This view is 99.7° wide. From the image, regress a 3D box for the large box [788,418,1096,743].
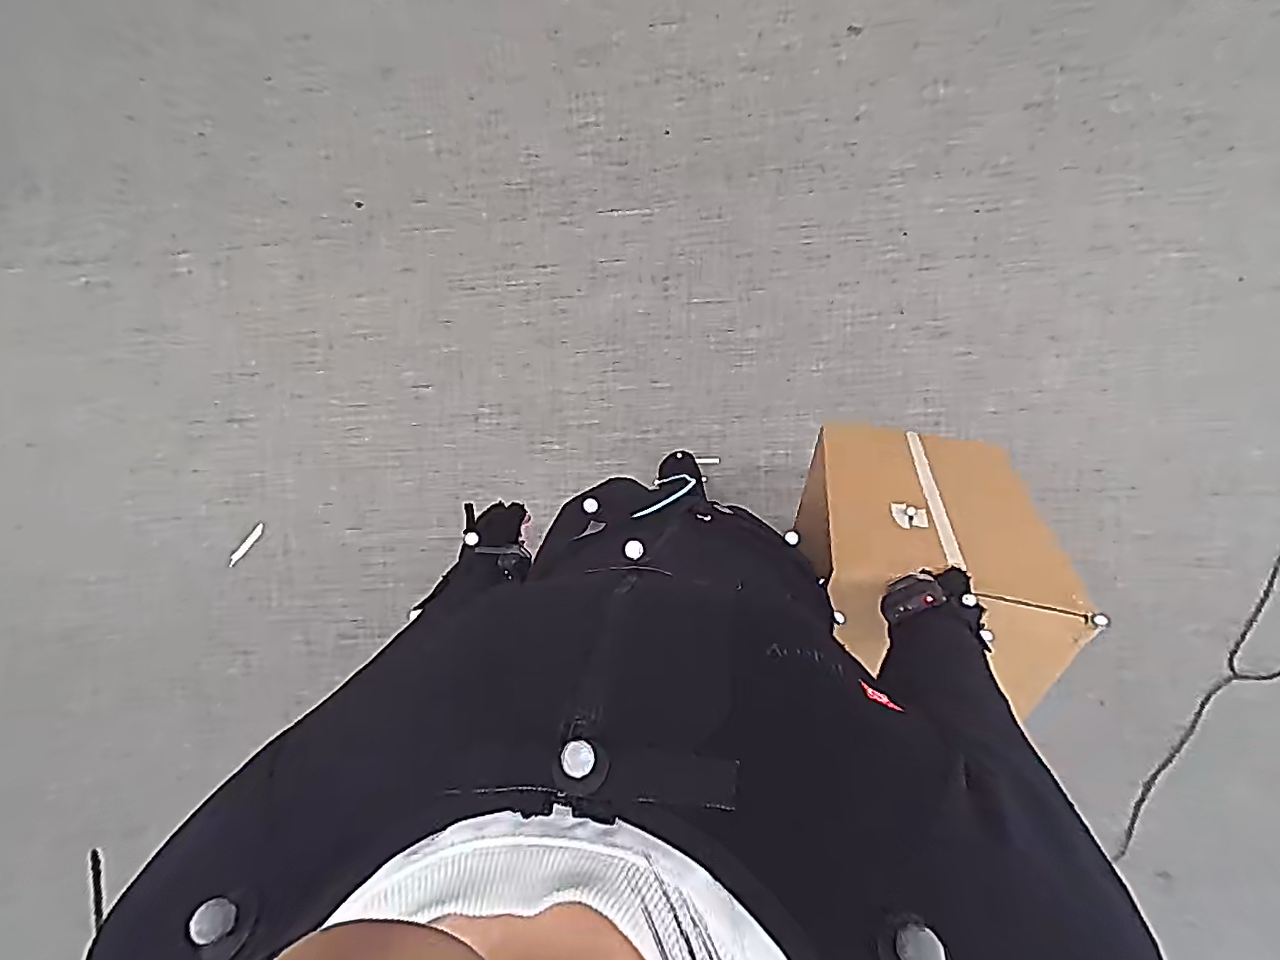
[{"bbox_3d":[0.437,0.146,0.912,0.320,0.408,0.320,10,128,10],"label":"large box"}]
